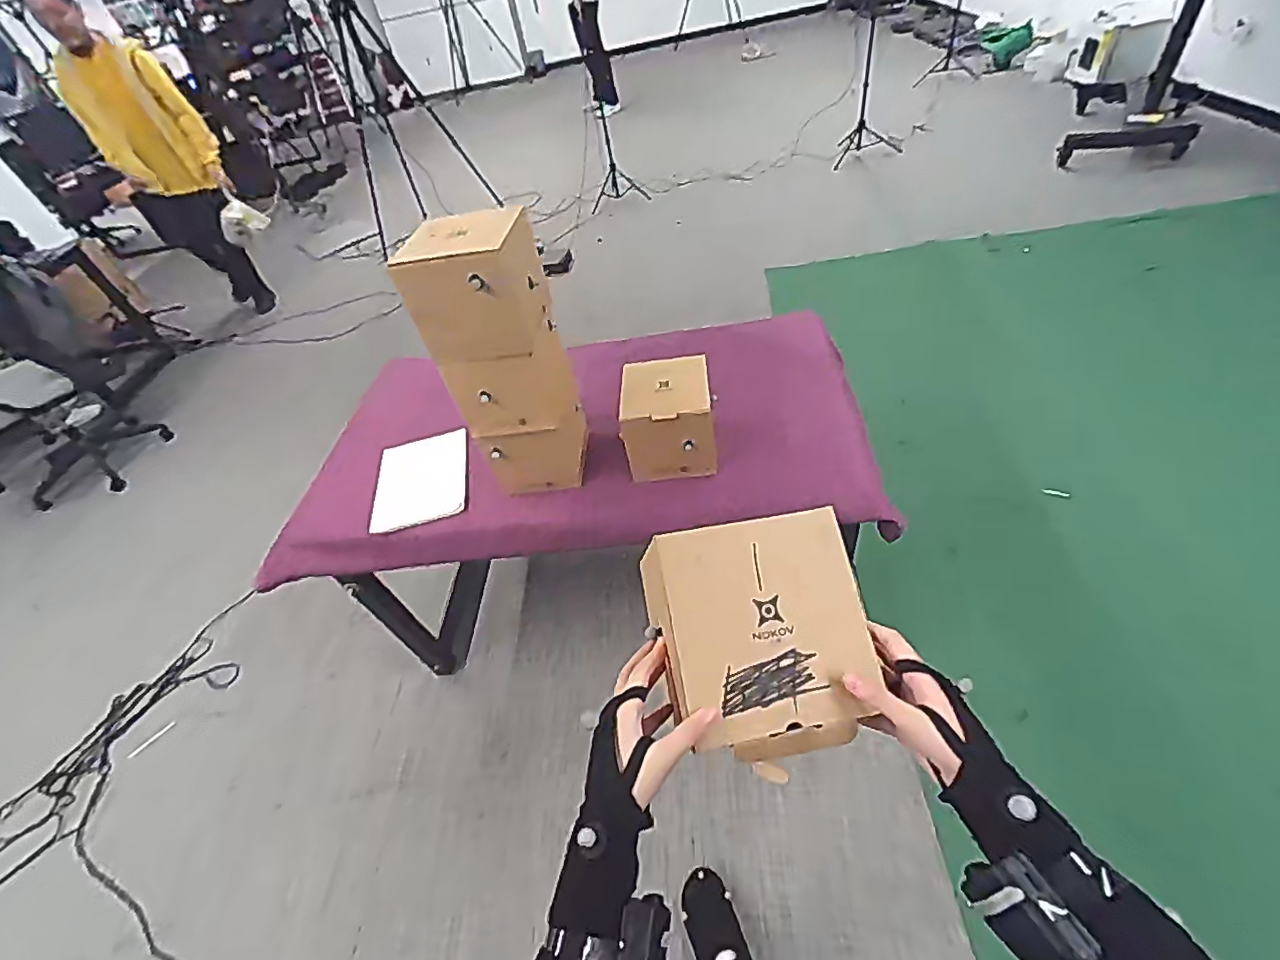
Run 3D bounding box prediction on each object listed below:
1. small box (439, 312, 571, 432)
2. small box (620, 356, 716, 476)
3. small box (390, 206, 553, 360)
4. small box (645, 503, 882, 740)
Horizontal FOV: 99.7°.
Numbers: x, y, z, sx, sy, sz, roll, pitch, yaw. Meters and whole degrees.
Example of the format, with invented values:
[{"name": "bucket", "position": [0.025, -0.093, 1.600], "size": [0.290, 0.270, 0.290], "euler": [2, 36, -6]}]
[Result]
[{"name": "small box", "position": [-0.233, -0.201, 0.987], "size": [0.168, 0.176, 0.179], "euler": [-5, 45, 9]}, {"name": "small box", "position": [0.061, -0.120, 1.070], "size": [0.168, 0.176, 0.179], "euler": [-5, 45, 8]}, {"name": "small box", "position": [-0.253, -0.311, 0.865], "size": [0.179, 0.176, 0.168], "euler": [-4, 45, 10]}, {"name": "small box", "position": [0.101, 0.135, 0.530], "size": [0.168, 0.176, 0.179], "euler": [-8, 73, -6]}]
